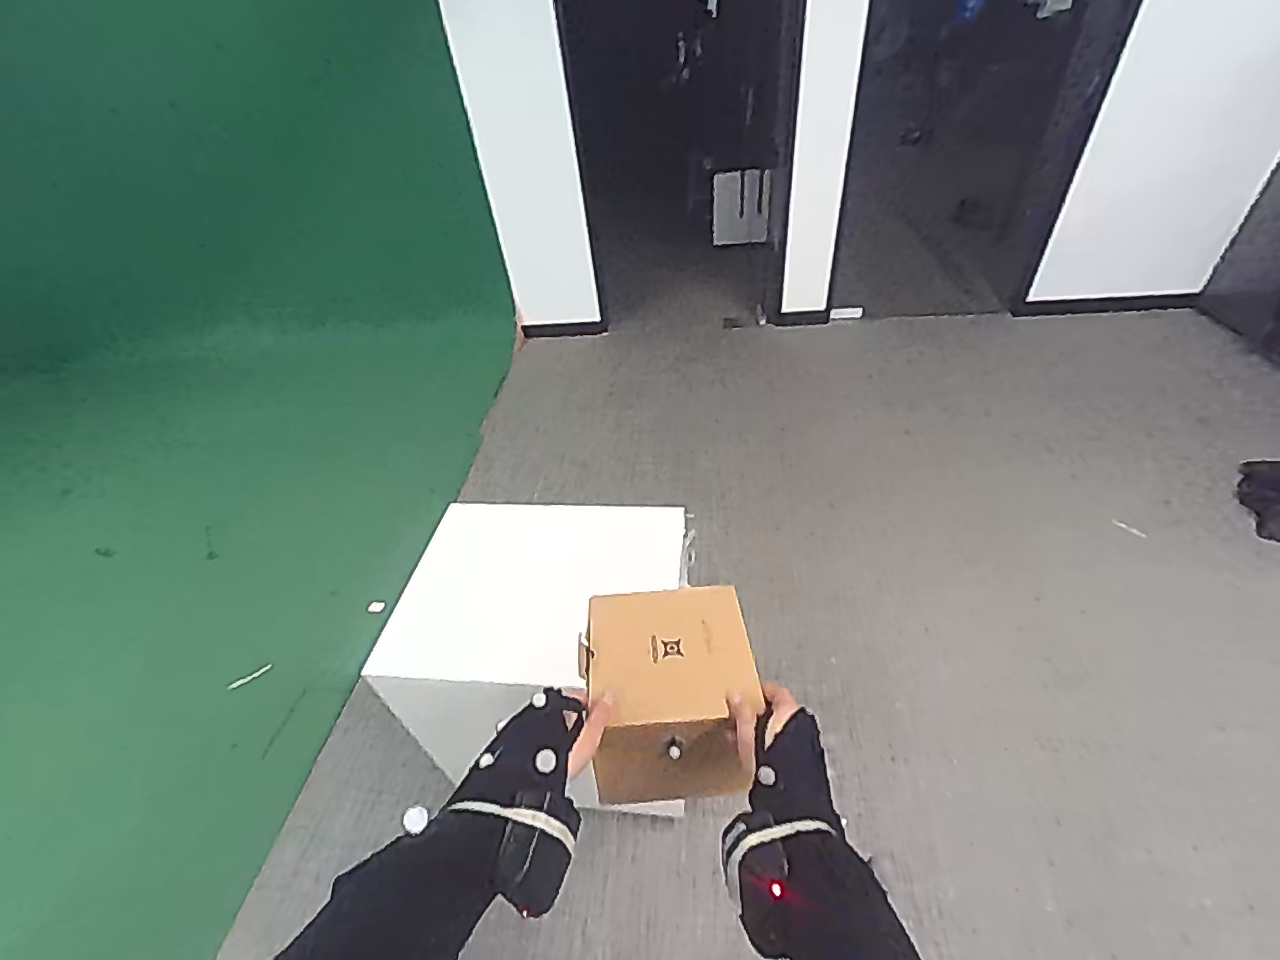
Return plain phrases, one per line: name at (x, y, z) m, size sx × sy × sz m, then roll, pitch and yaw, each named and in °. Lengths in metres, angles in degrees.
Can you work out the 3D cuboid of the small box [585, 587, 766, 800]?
small box at (0.034, 0.245, 0.621) m, size 0.179 × 0.176 × 0.168 m, roll -3°, pitch 37°, yaw -2°
